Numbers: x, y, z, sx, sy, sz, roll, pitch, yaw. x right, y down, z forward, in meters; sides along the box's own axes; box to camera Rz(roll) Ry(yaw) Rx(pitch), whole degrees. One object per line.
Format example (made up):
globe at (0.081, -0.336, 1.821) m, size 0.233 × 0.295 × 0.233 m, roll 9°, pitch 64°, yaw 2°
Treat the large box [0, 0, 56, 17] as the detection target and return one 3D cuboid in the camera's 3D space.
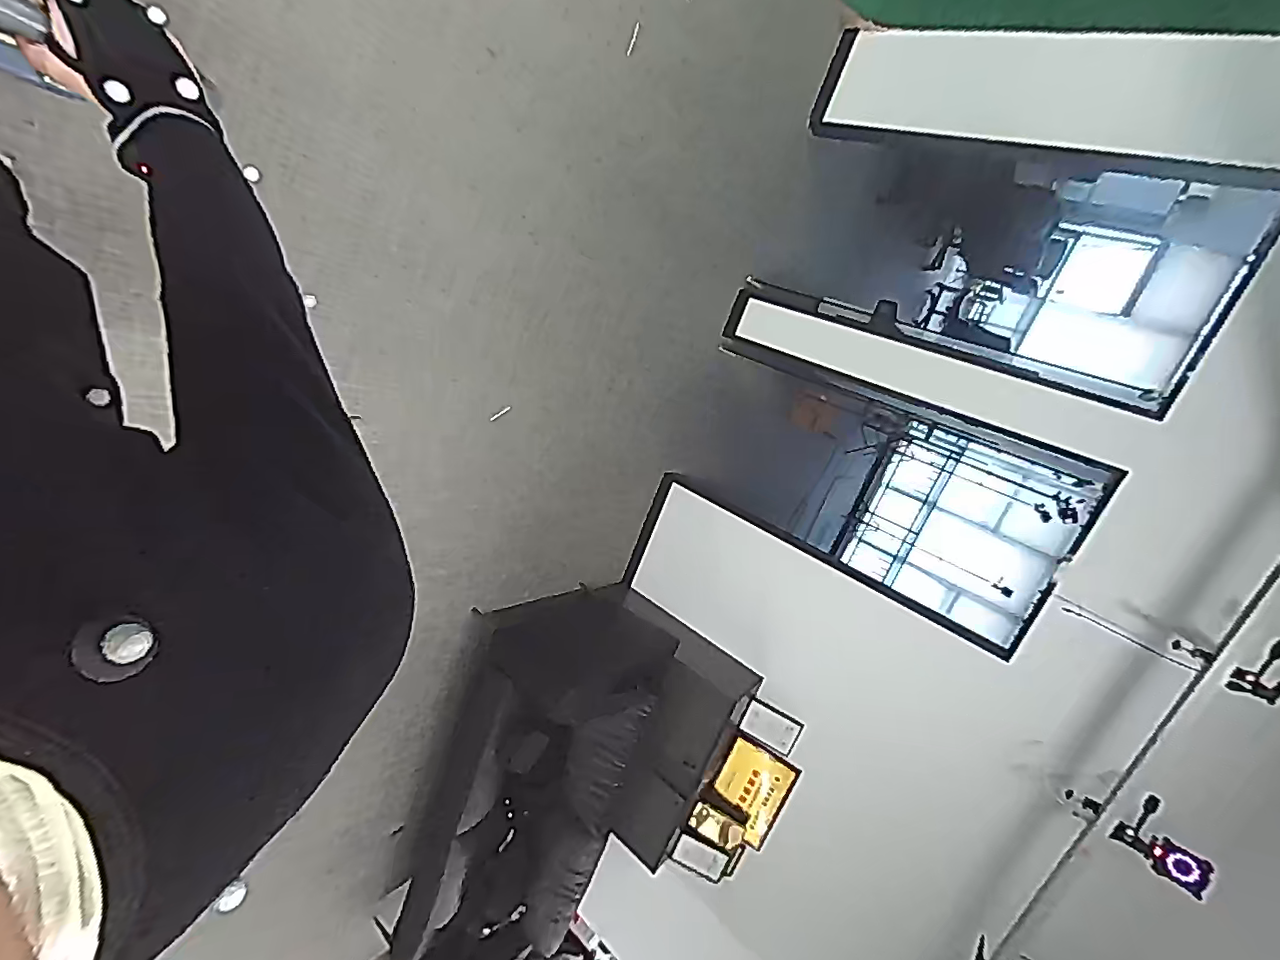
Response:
large box at (-0.870, -0.819, 0.577) m, size 0.320 × 0.320 × 0.408 m, roll -2°, pitch 115°, yaw -58°
